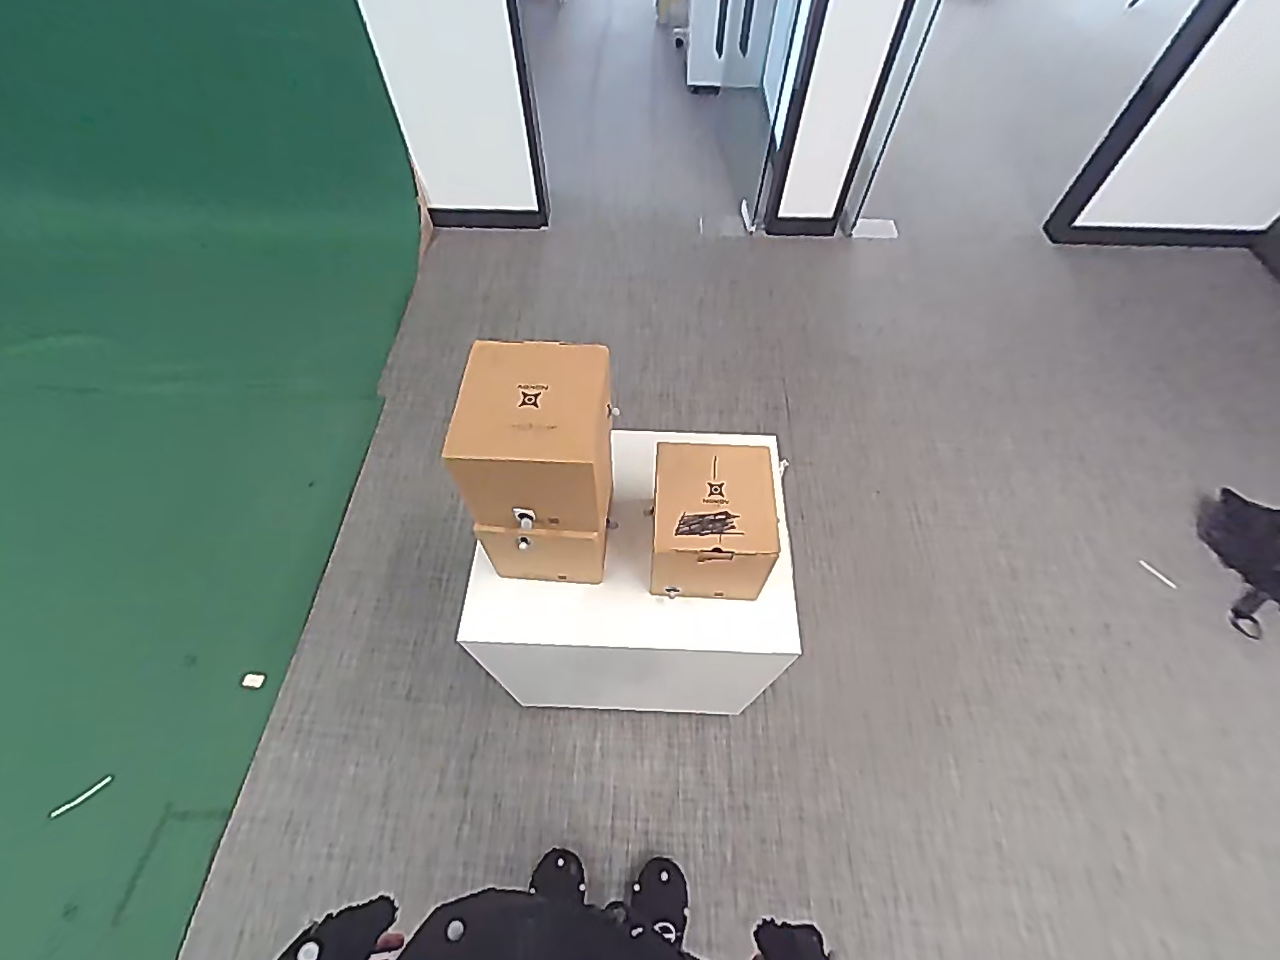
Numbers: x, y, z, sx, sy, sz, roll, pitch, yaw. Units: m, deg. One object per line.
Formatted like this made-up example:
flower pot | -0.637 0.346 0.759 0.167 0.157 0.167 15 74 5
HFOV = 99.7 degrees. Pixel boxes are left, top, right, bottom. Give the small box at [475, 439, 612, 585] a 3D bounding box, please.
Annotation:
small box | -0.134 0.043 0.827 0.168 0.176 0.179 4 57 3

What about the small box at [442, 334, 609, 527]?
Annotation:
small box | -0.127 -0.059 0.681 0.168 0.176 0.179 2 59 1

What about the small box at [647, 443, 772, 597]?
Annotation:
small box | 0.098 0.066 0.815 0.168 0.176 0.179 3 57 1
